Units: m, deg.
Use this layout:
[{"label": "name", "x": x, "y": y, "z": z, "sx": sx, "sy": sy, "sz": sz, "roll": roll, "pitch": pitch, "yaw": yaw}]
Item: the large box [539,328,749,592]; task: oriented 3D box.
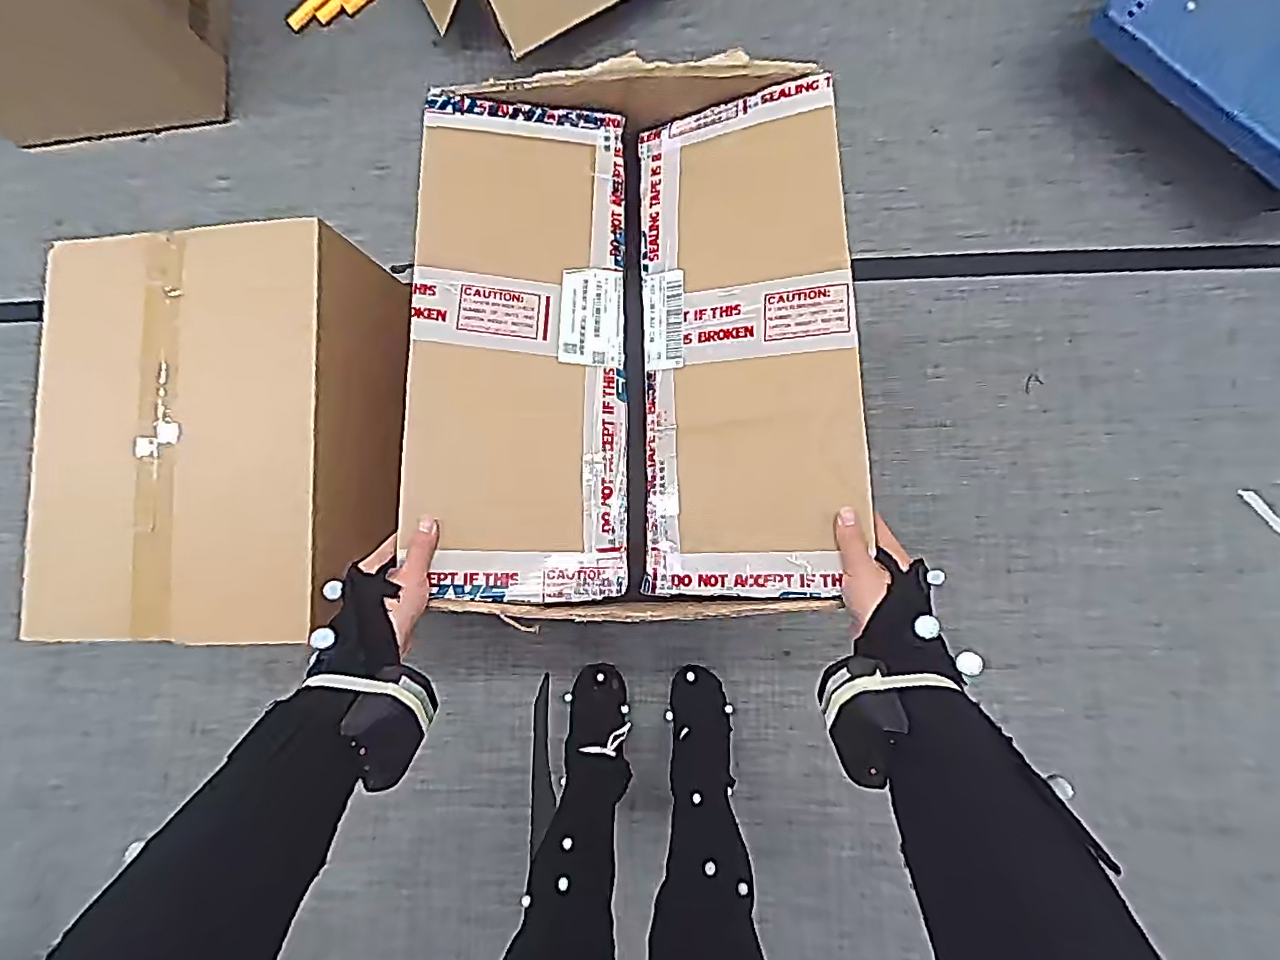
[{"label": "large box", "x": 0.008, "y": -0.022, "z": 0.974, "sx": 0.320, "sy": 0.320, "sz": 0.408, "roll": -2, "pitch": 84, "yaw": 3}]
